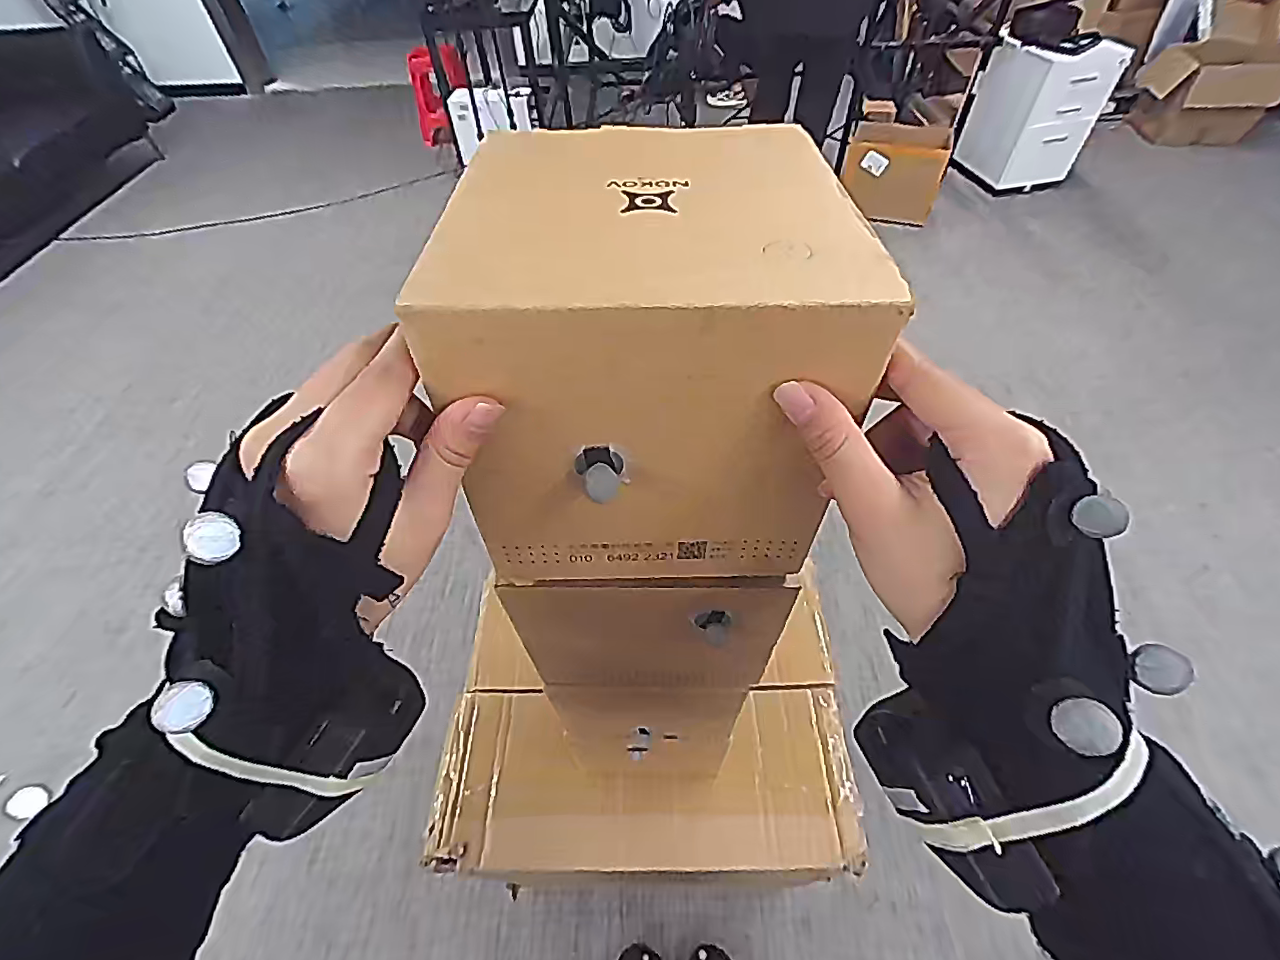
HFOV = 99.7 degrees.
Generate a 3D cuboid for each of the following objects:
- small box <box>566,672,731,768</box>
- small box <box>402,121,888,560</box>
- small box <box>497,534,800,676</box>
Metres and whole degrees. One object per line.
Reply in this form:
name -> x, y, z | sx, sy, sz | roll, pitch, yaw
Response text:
small box -> 0.015, 0.250, 0.672 | 0.179, 0.176, 0.168 | 0, 51, 2
small box -> 0.002, -0.068, 0.291 | 0.168, 0.176, 0.179 | -2, 48, -1
small box -> 0.008, 0.042, 0.417 | 0.179, 0.176, 0.168 | -1, 51, 2
